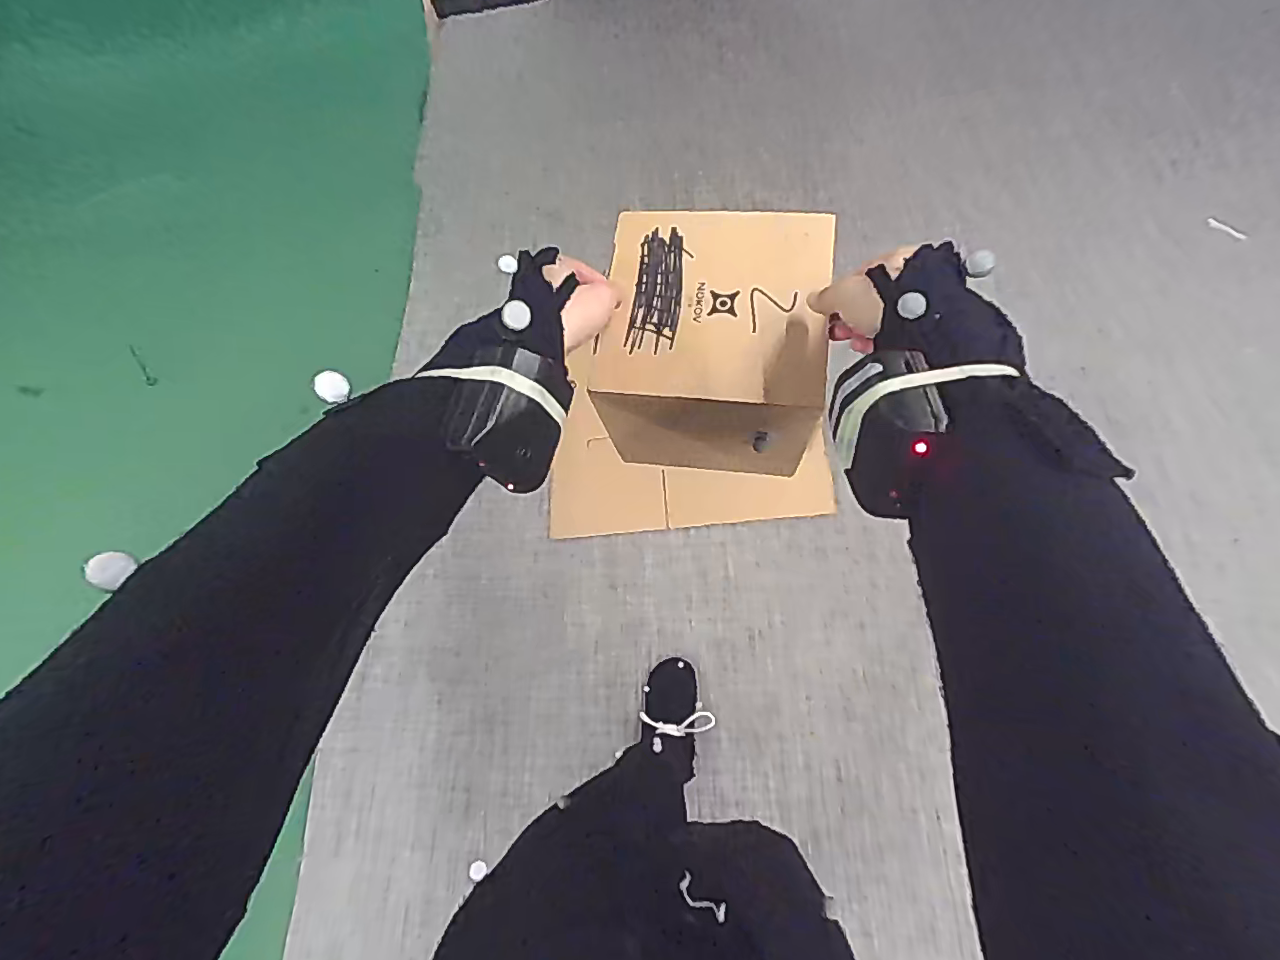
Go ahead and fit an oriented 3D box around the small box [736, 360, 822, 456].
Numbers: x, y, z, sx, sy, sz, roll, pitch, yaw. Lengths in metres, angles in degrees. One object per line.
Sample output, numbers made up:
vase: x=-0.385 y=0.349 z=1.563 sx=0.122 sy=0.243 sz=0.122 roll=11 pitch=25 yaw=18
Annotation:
small box: x=0.323 y=-0.166 z=1.291 sx=0.179 sy=0.176 sz=0.168 roll=-4 pitch=68 yaw=6
